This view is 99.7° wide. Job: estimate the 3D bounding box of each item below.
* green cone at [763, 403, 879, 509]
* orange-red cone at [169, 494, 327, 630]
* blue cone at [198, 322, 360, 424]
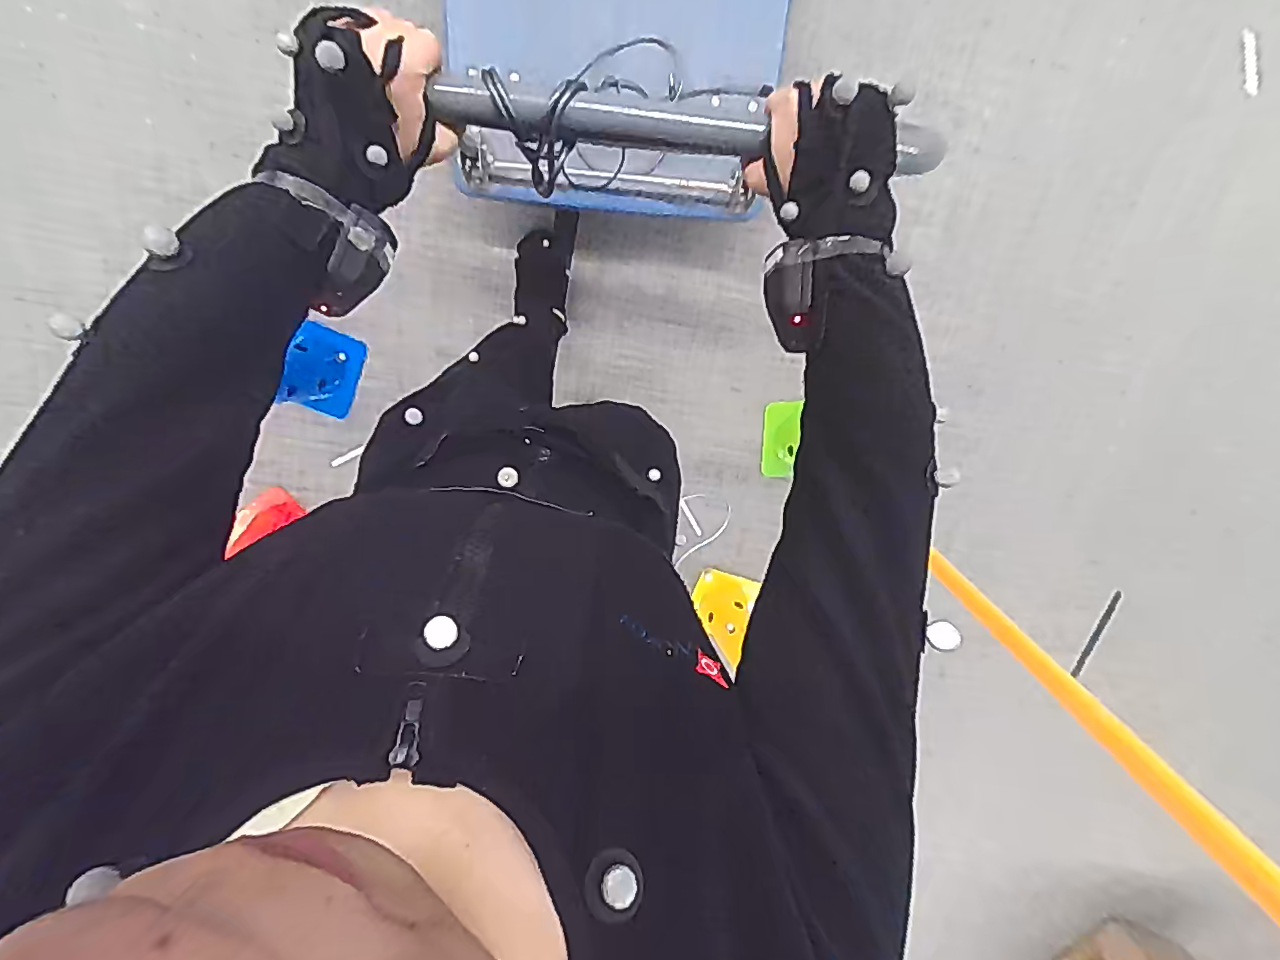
[{"bbox_3d":[0.429,-0.032,1.220,0.200,0.368,0.202,-3,112,-4],"label":"green cone"},{"bbox_3d":[-0.897,0.208,1.192,0.199,0.360,0.198,-33,111,6],"label":"orange-red cone"},{"bbox_3d":[-0.733,-0.187,1.073,0.193,0.380,0.192,24,108,-13],"label":"blue cone"}]
